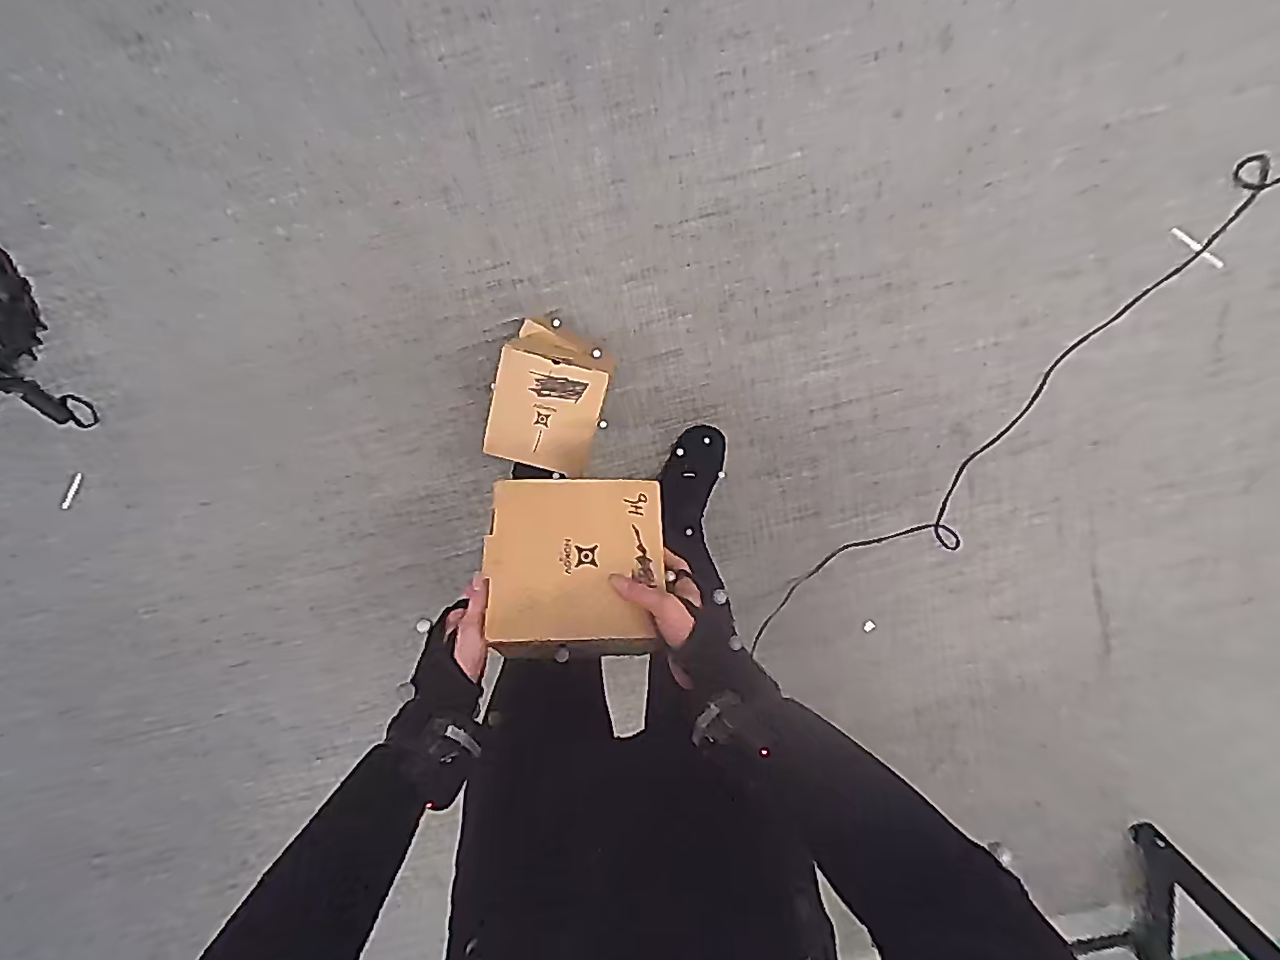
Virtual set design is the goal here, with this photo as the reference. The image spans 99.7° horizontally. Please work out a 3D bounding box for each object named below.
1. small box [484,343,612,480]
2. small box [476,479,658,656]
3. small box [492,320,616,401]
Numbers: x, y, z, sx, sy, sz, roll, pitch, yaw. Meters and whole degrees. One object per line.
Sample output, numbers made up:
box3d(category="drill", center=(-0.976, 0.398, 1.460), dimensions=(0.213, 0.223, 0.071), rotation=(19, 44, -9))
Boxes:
box3d(category="small box", center=(-0.146, -0.123, 0.909), dimensions=(0.168, 0.176, 0.179), rotation=(15, 109, -5))
box3d(category="small box", center=(-0.073, 0.106, 0.615), dimensions=(0.179, 0.176, 0.168), rotation=(-1, 67, -3))
box3d(category="small box", center=(-0.160, -0.198, 1.058), dimensions=(0.179, 0.176, 0.168), rotation=(26, 107, -10))
